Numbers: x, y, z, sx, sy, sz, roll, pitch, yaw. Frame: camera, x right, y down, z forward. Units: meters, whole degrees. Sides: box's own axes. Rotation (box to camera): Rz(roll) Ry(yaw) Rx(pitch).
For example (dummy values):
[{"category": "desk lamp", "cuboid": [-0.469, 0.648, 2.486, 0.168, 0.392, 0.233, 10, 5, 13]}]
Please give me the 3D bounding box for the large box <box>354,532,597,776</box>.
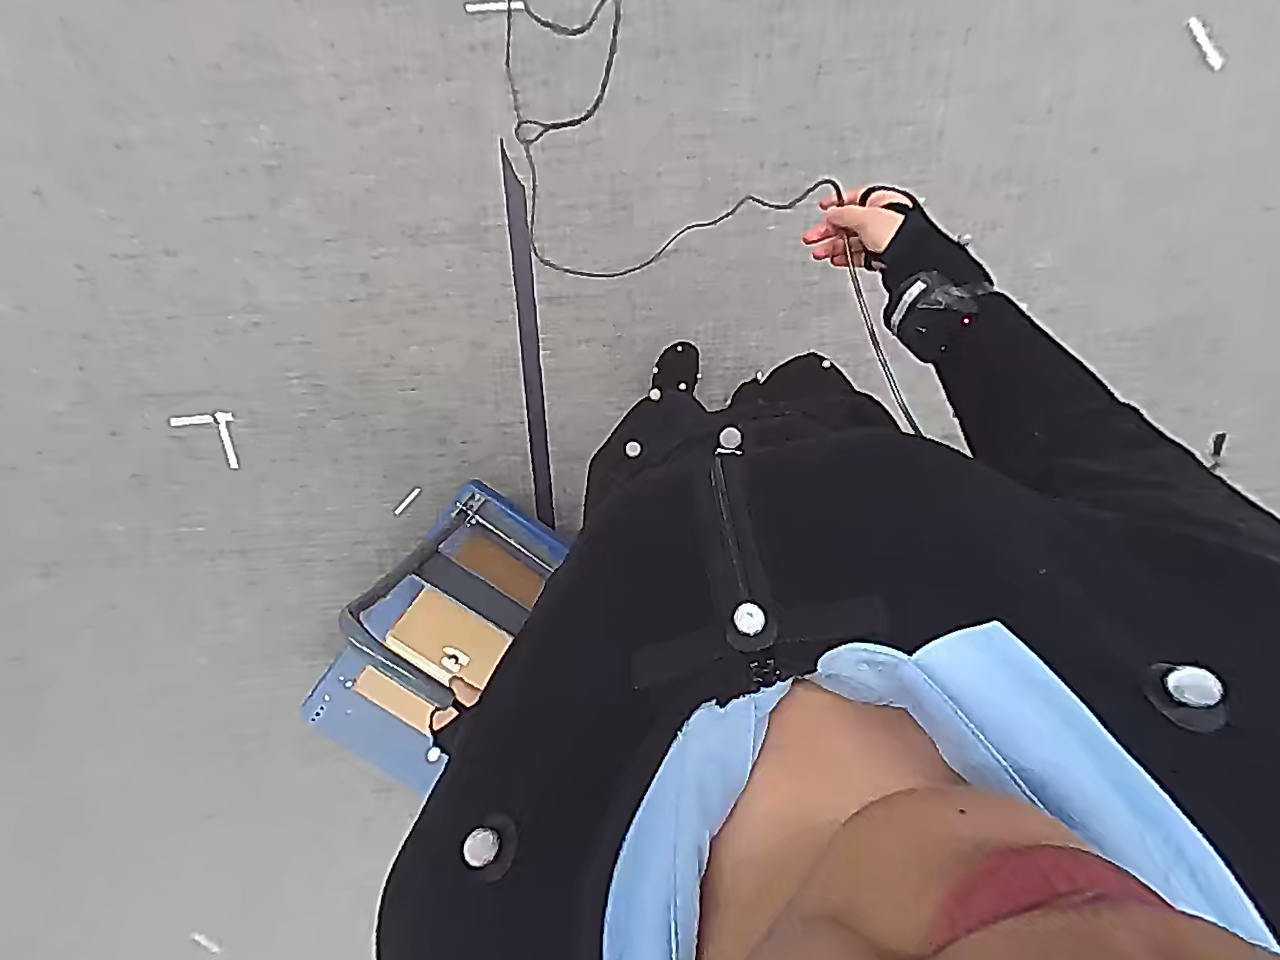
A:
[{"category": "large box", "cuboid": [-0.359, 0.396, 1.291, 0.408, 0.320, 0.320, 37, 101, -8]}]
